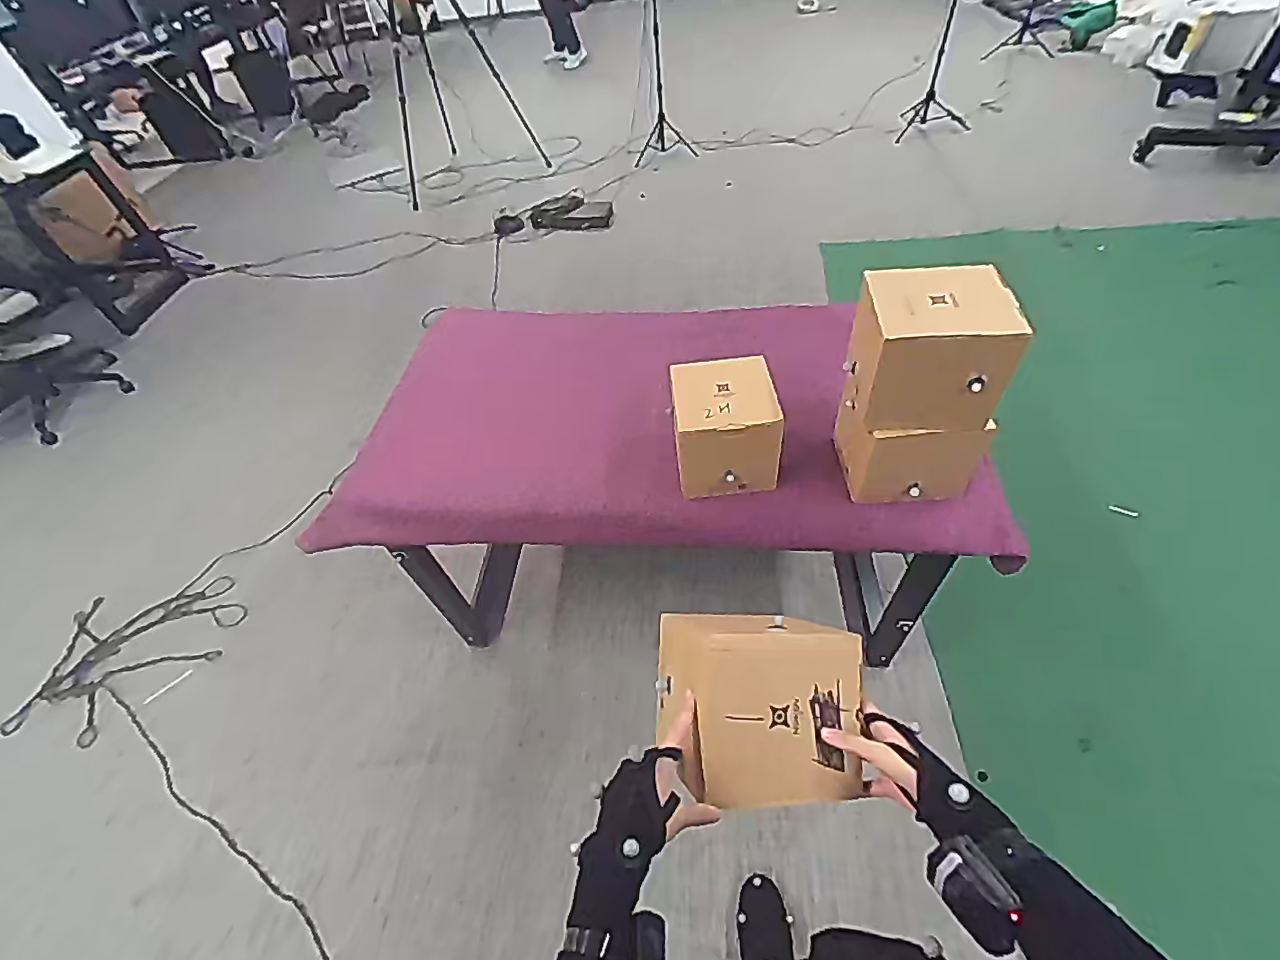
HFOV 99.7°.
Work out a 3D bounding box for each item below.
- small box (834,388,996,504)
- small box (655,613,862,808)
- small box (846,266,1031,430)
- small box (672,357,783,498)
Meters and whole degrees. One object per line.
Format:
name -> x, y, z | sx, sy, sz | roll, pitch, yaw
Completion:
small box -> 0.439, -0.075, 0.897 | 0.179, 0.176, 0.168 | -4, 49, 5
small box -> 0.126, 0.245, 0.616 | 0.179, 0.176, 0.168 | 4, 82, -13
small box -> 0.409, -0.185, 0.779 | 0.179, 0.176, 0.168 | 0, 50, 10
small box -> 0.146, -0.090, 0.952 | 0.168, 0.176, 0.179 | -6, 49, 4
